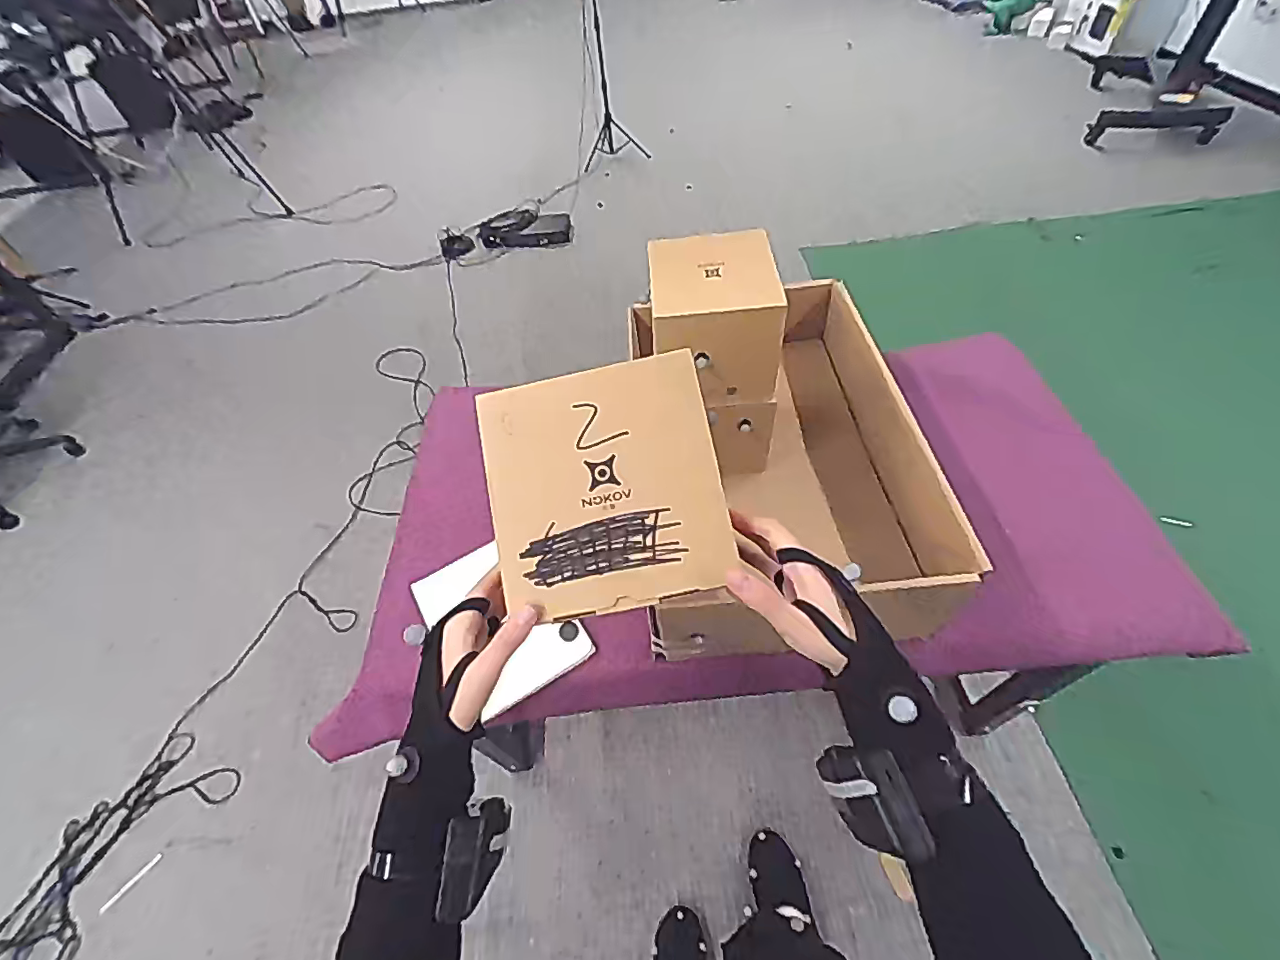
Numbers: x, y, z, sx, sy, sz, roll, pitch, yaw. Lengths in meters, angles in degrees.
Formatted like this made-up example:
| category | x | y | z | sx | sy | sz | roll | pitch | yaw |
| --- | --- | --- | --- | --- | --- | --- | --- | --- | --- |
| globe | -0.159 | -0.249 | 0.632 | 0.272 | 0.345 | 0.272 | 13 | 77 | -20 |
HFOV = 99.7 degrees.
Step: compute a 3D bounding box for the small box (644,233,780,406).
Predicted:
| category | x | y | z | sx | sy | sz | roll | pitch | yaw |
| --- | --- | --- | --- | --- | --- | --- | --- | --- | --- |
| small box | 0.097 | -0.220 | 0.770 | 0.168 | 0.176 | 0.179 | -5 | 52 | 3 |
